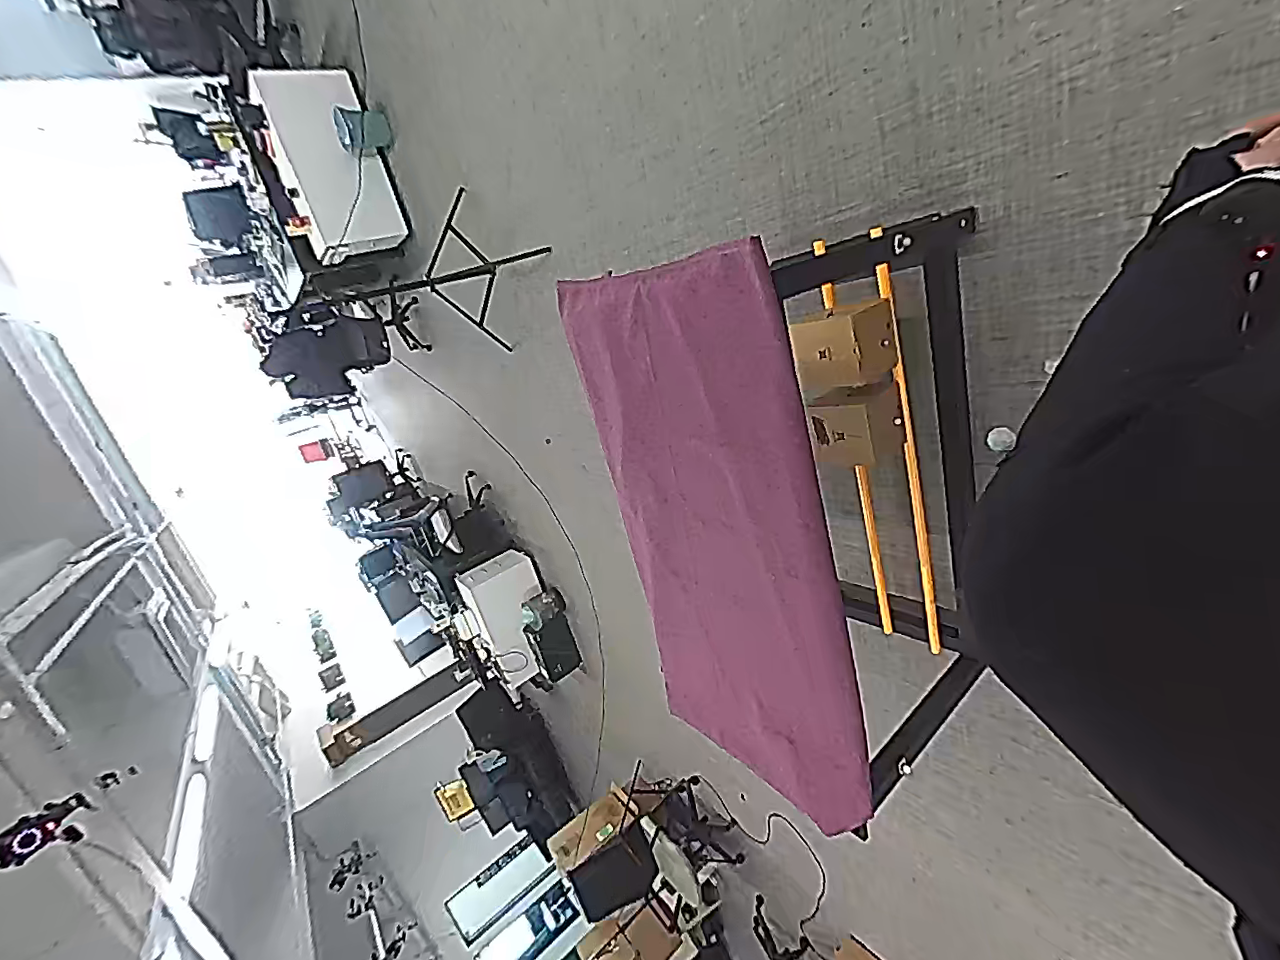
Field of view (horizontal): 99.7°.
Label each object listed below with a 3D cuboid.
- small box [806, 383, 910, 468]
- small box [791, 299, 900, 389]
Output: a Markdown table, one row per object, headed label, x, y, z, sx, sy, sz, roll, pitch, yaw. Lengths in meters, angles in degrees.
| label | x | y | z | sx | sy | sz | roll | pitch | yaw |
| --- | --- | --- | --- | --- | --- | --- | --- | --- | --- |
| small box | 0.561 | -0.143 | 1.390 | 0.179 | 0.176 | 0.168 | 7 | 120 | 52 |
| small box | 0.504 | -0.330 | 1.324 | 0.179 | 0.176 | 0.168 | 7 | 120 | 53 |
